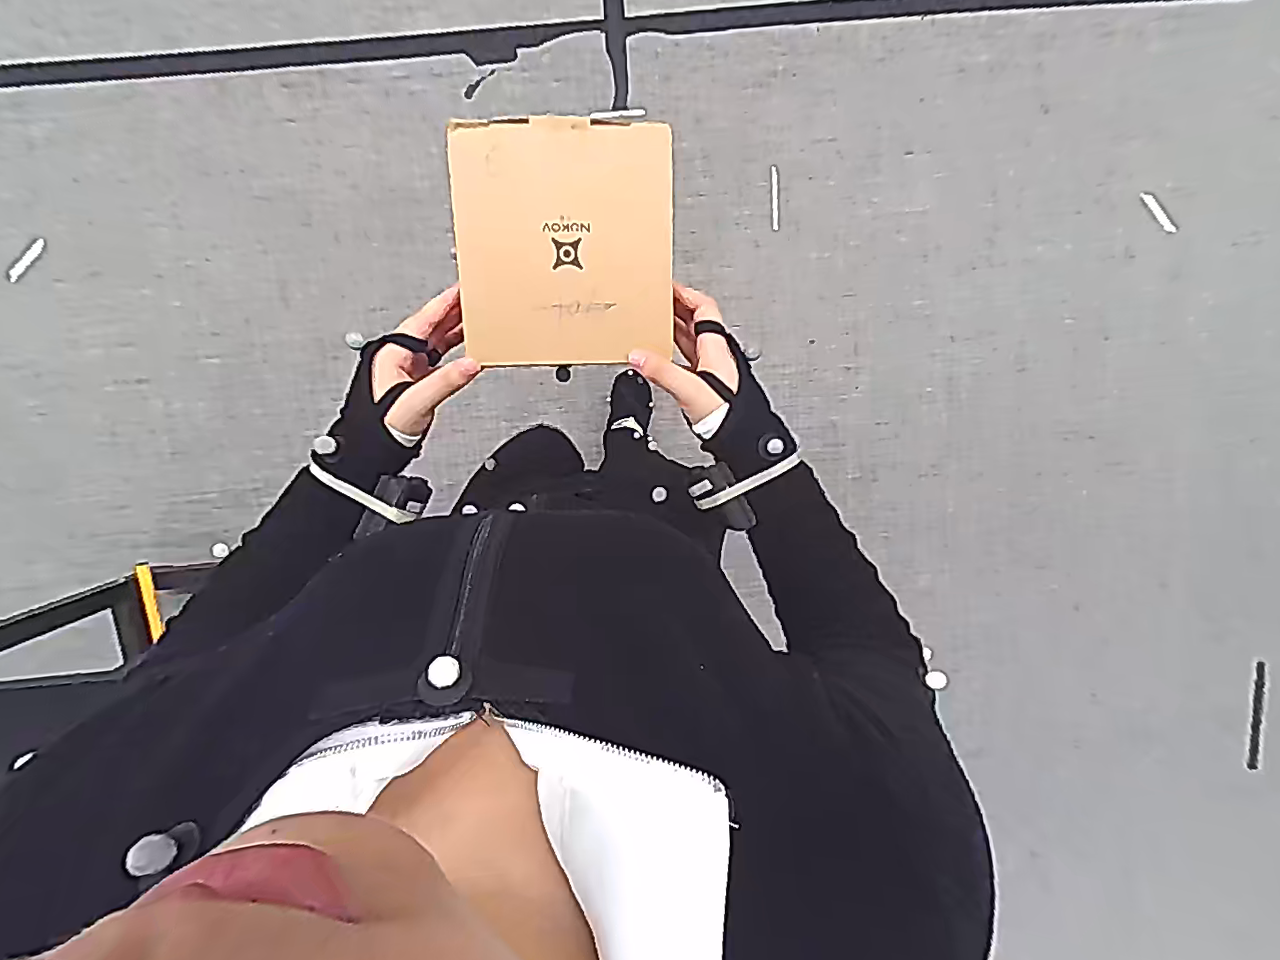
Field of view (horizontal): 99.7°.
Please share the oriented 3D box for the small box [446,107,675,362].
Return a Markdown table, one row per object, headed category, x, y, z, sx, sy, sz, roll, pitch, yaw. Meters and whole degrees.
| category | x | y | z | sx | sy | sz | roll | pitch | yaw |
| --- | --- | --- | --- | --- | --- | --- | --- | --- | --- |
| small box | -0.063 | -0.196 | 0.481 | 0.168 | 0.176 | 0.179 | -2 | 104 | -5 |
